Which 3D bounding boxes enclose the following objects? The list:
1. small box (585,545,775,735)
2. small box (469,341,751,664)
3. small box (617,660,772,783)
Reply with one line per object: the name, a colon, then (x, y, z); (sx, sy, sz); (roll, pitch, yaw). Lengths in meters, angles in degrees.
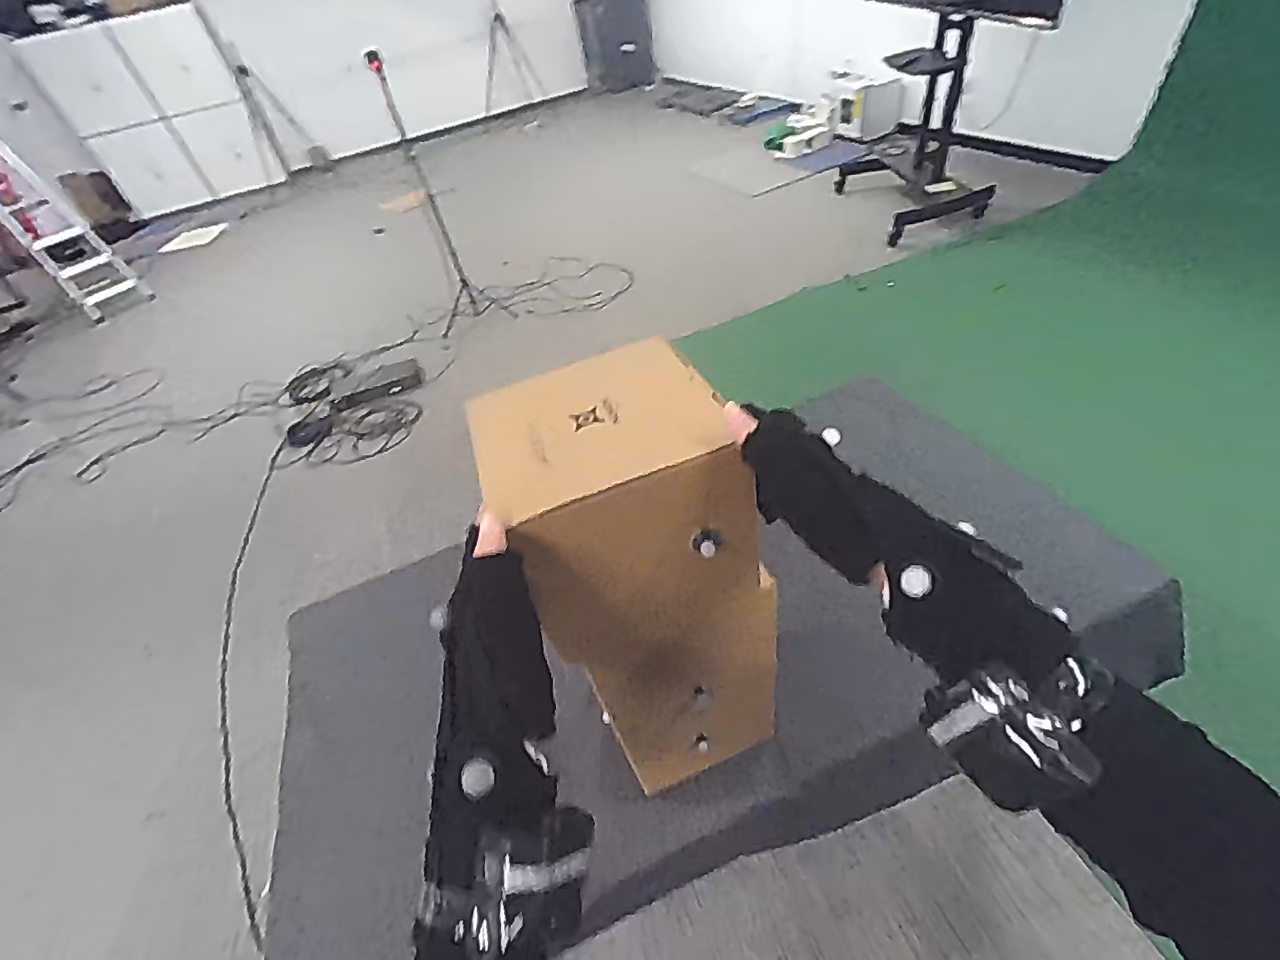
small box: (0.022, 0.129, 0.561); (0.179, 0.176, 0.168); (-20, 42, -8)
small box: (-0.020, 0.017, 0.449); (0.179, 0.176, 0.168); (-22, 42, -7)
small box: (0.049, 0.240, 0.674); (0.179, 0.176, 0.168); (-19, 41, -6)
